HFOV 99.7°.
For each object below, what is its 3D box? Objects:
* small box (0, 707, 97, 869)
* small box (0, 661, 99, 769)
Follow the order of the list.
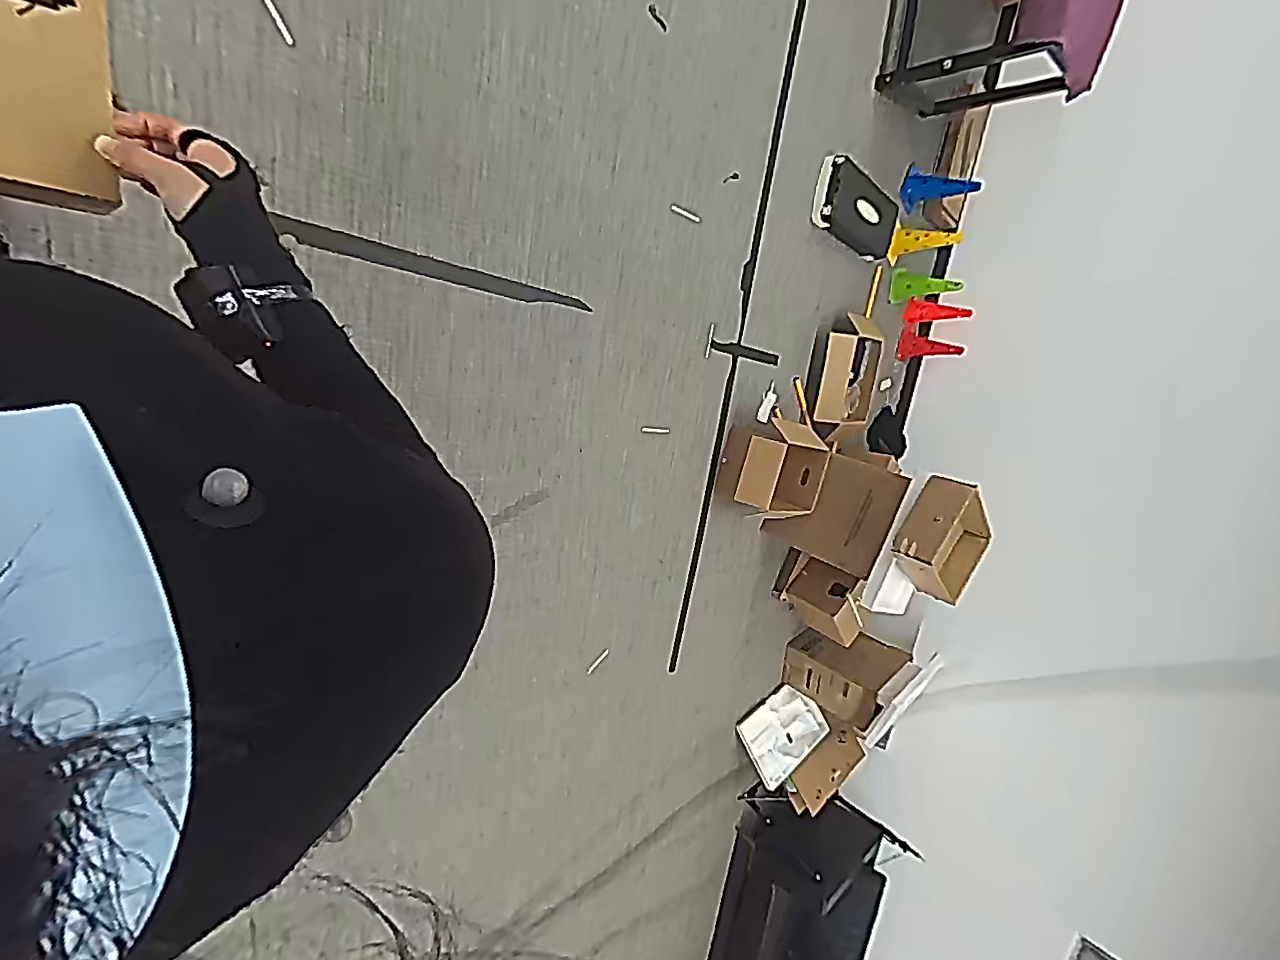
[{"bbox_3d":[-1.085,0.544,0.960,0.168,0.176,0.179,-1,106,-45],"label":"small box"},{"bbox_3d":[-1.200,0.494,1.064,0.168,0.176,0.179,-17,117,-41],"label":"small box"}]
